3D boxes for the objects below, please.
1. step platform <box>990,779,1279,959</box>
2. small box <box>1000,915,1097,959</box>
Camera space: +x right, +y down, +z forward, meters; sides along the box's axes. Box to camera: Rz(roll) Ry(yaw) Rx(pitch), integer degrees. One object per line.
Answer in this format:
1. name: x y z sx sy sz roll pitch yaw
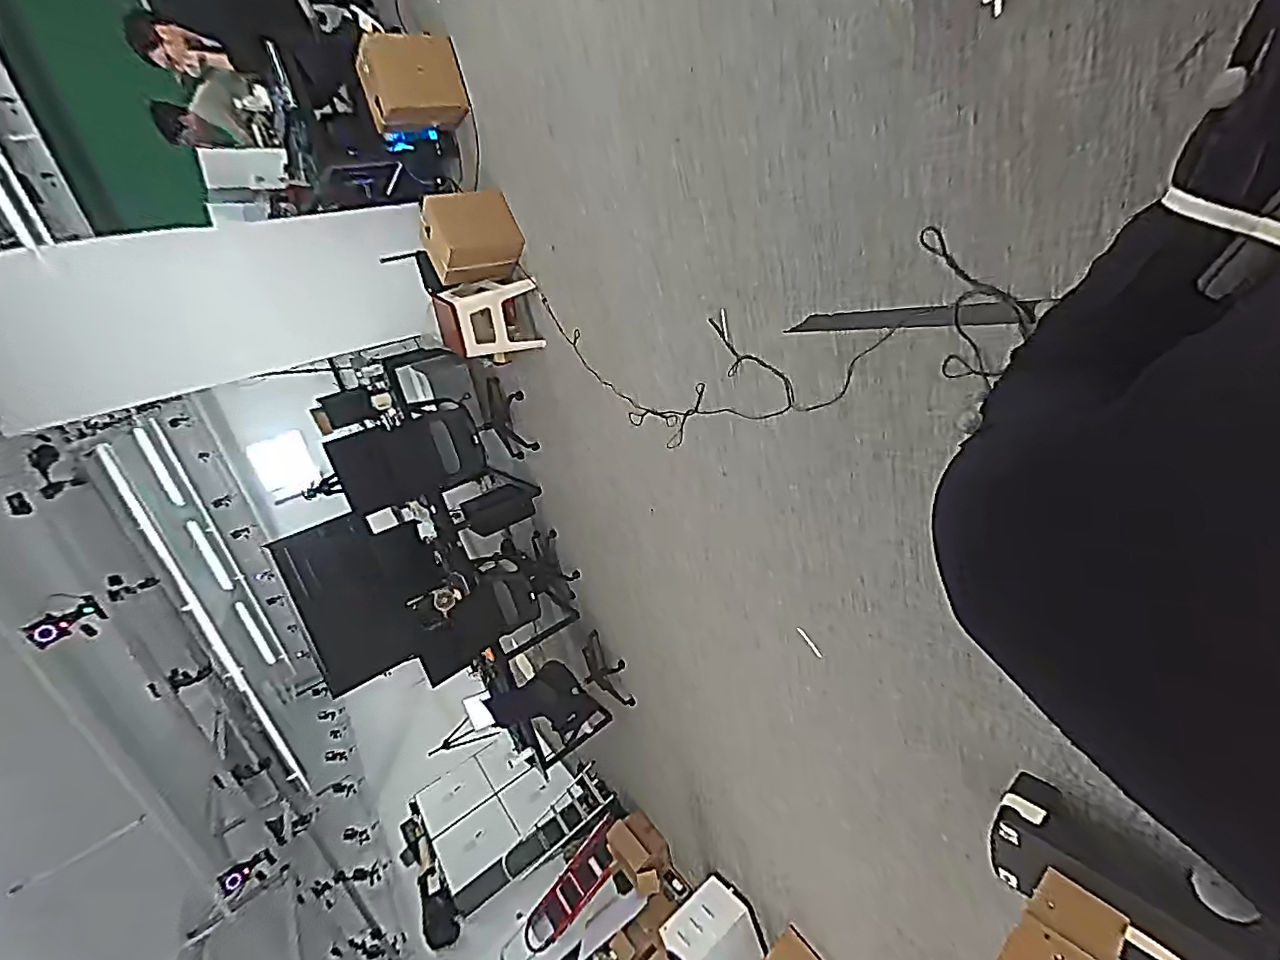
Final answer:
1. step platform: 1.319 1.131 1.418 0.684 0.204 0.286 15 126 52
2. small box: 1.004 1.233 1.316 0.168 0.176 0.179 14 123 55
